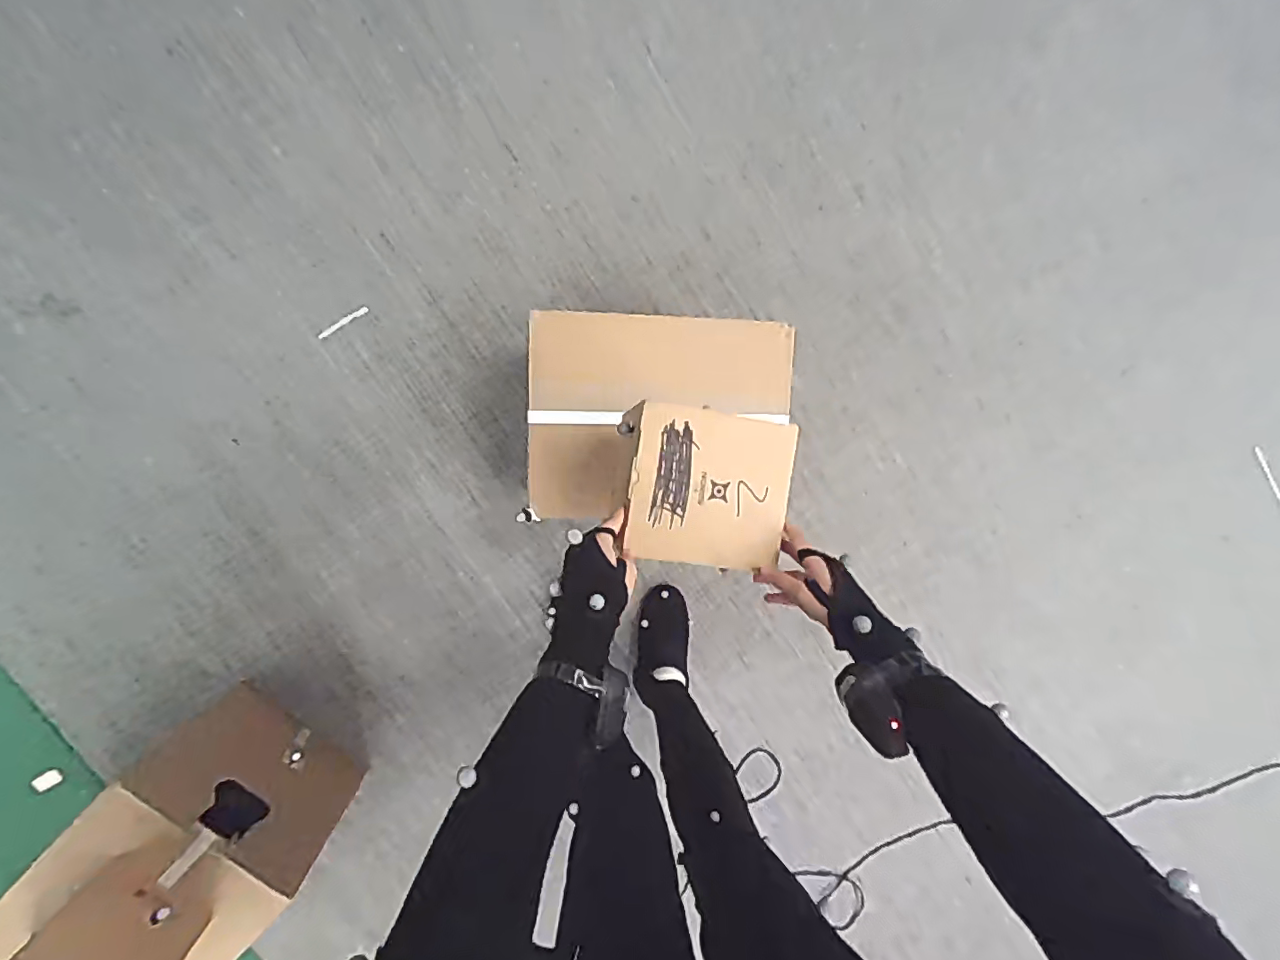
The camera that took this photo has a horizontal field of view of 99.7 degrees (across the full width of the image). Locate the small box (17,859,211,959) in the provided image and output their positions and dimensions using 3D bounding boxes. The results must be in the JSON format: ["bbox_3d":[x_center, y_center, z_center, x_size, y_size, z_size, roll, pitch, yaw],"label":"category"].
[{"bbox_3d":[-0.724,0.658,0.701,0.179,0.176,0.168,-44,100,-2],"label":"small box"}]

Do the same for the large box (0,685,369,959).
[{"bbox_3d":[-0.774,0.658,0.942,0.320,0.320,0.408,43,90,-8],"label":"large box"}]
